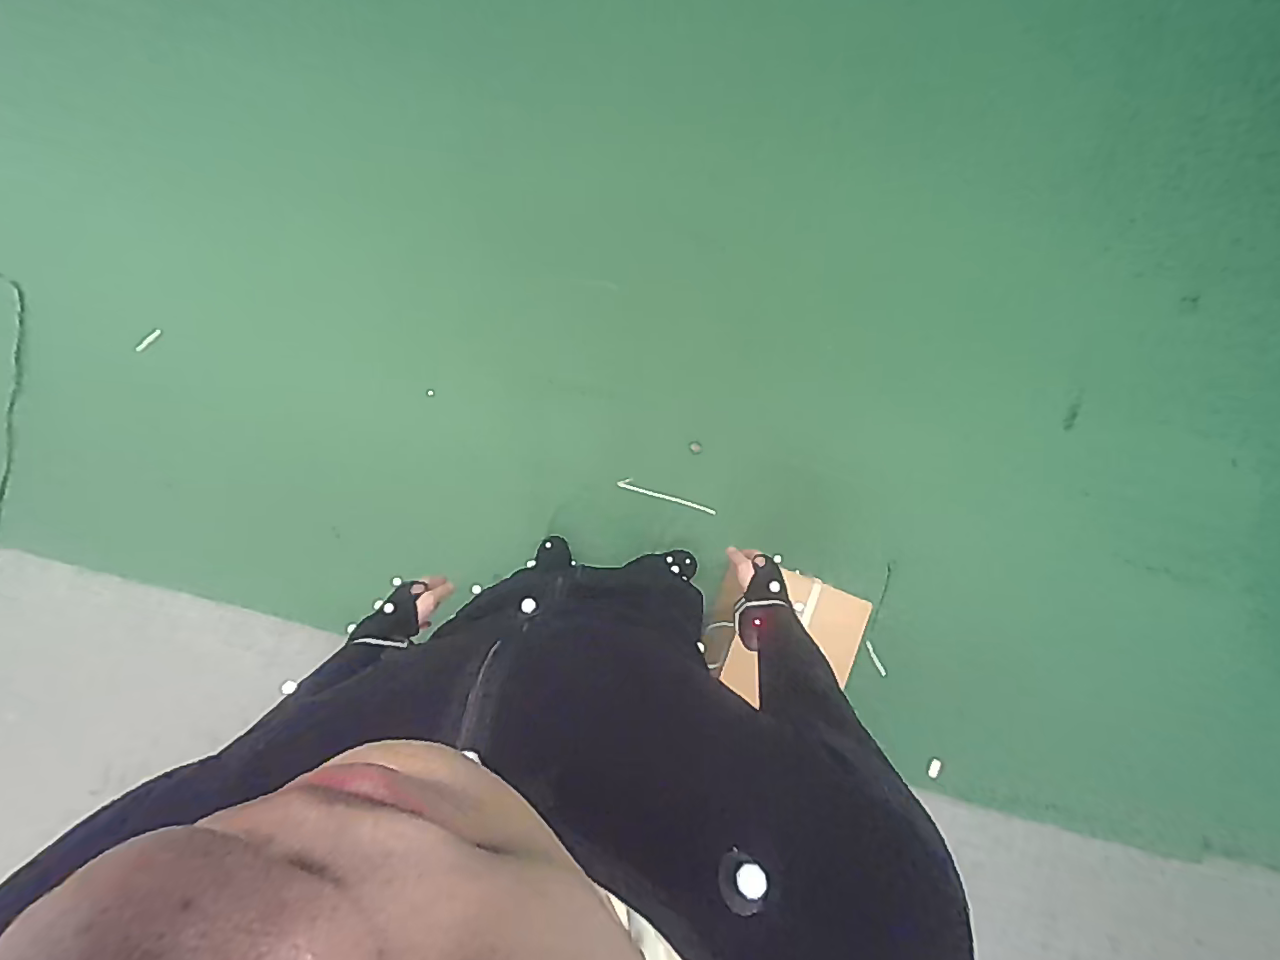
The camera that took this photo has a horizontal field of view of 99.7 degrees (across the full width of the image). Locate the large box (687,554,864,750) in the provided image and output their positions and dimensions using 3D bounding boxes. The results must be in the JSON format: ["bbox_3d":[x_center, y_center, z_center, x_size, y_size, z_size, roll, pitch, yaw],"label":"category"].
[{"bbox_3d":[0.362,0.453,1.520,0.320,0.320,0.408,22,85,-2],"label":"large box"}]
